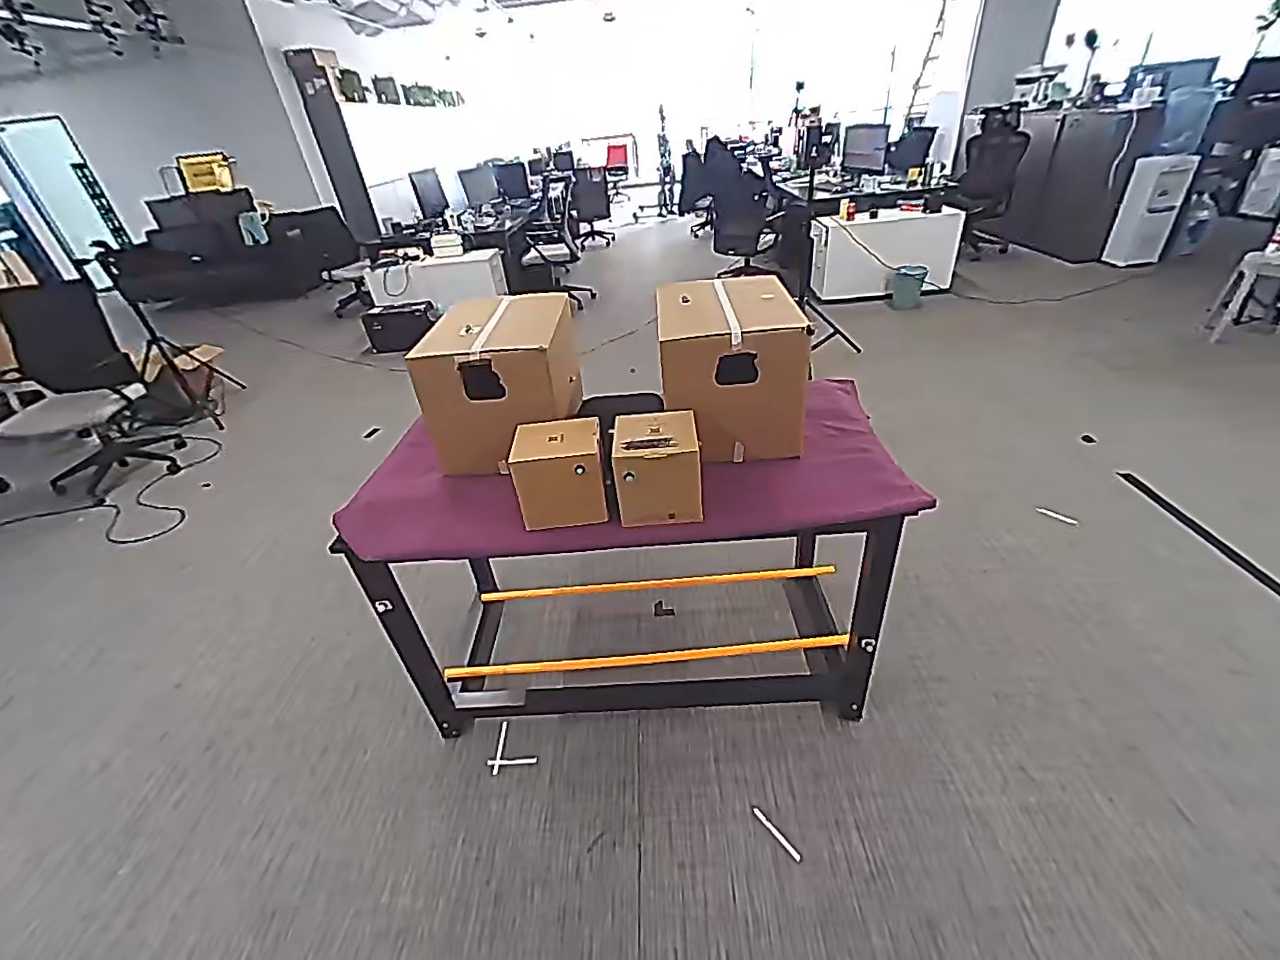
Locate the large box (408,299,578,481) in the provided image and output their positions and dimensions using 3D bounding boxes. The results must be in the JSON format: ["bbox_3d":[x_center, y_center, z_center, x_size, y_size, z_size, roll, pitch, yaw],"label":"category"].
[{"bbox_3d":[-0.341,-0.243,1.394,0.320,0.320,0.408,-5,36,3],"label":"large box"}]
